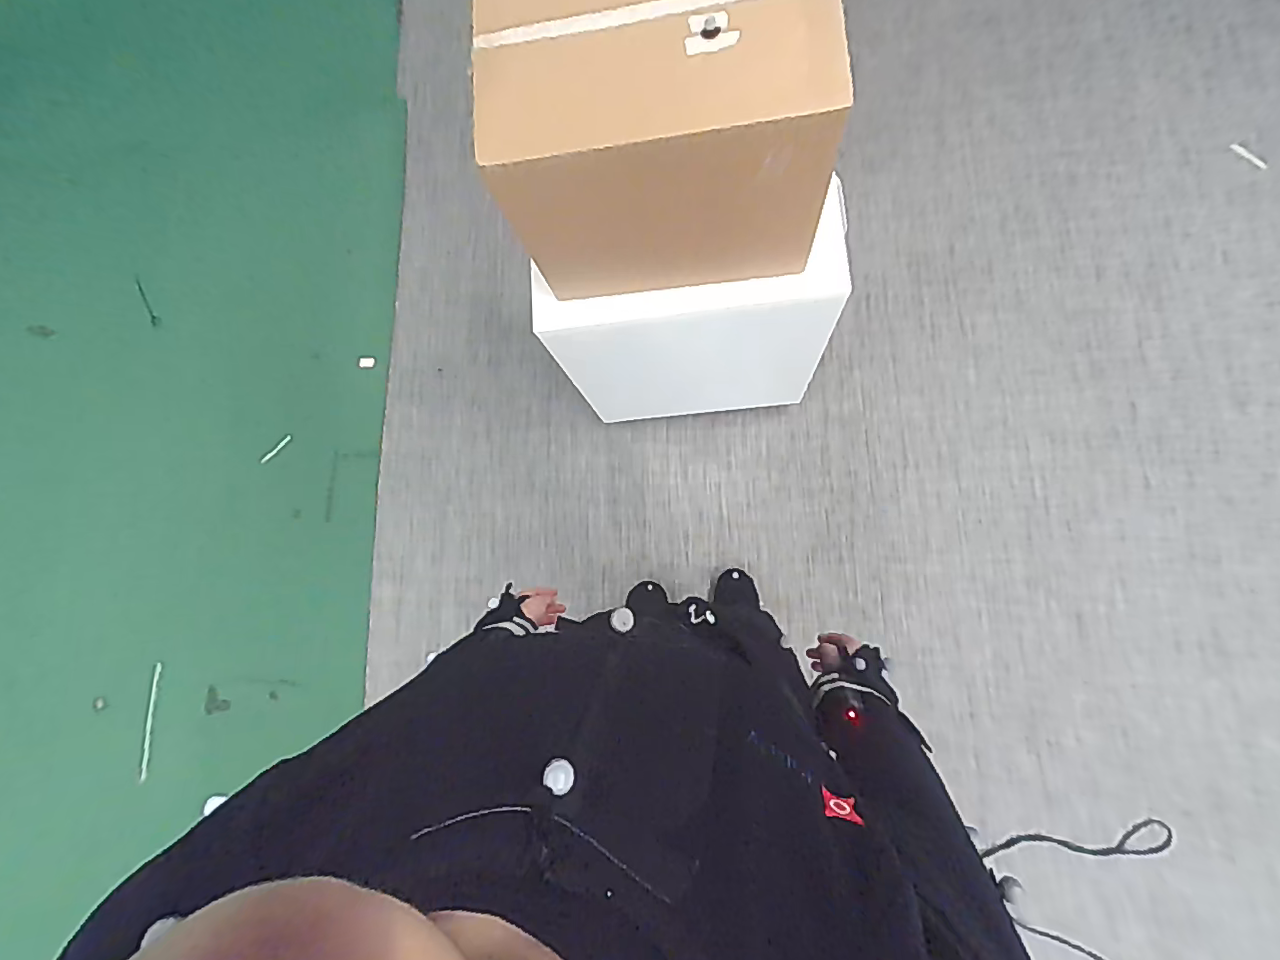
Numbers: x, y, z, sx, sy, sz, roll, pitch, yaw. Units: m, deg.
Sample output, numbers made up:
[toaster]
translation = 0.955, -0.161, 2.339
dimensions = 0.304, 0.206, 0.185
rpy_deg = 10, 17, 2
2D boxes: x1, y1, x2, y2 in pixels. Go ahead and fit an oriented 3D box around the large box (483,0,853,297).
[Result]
[large box]
translation = 0.032, -0.489, 0.750
dimensions = 0.408, 0.320, 0.320
rpy_deg = -5, 80, 6
